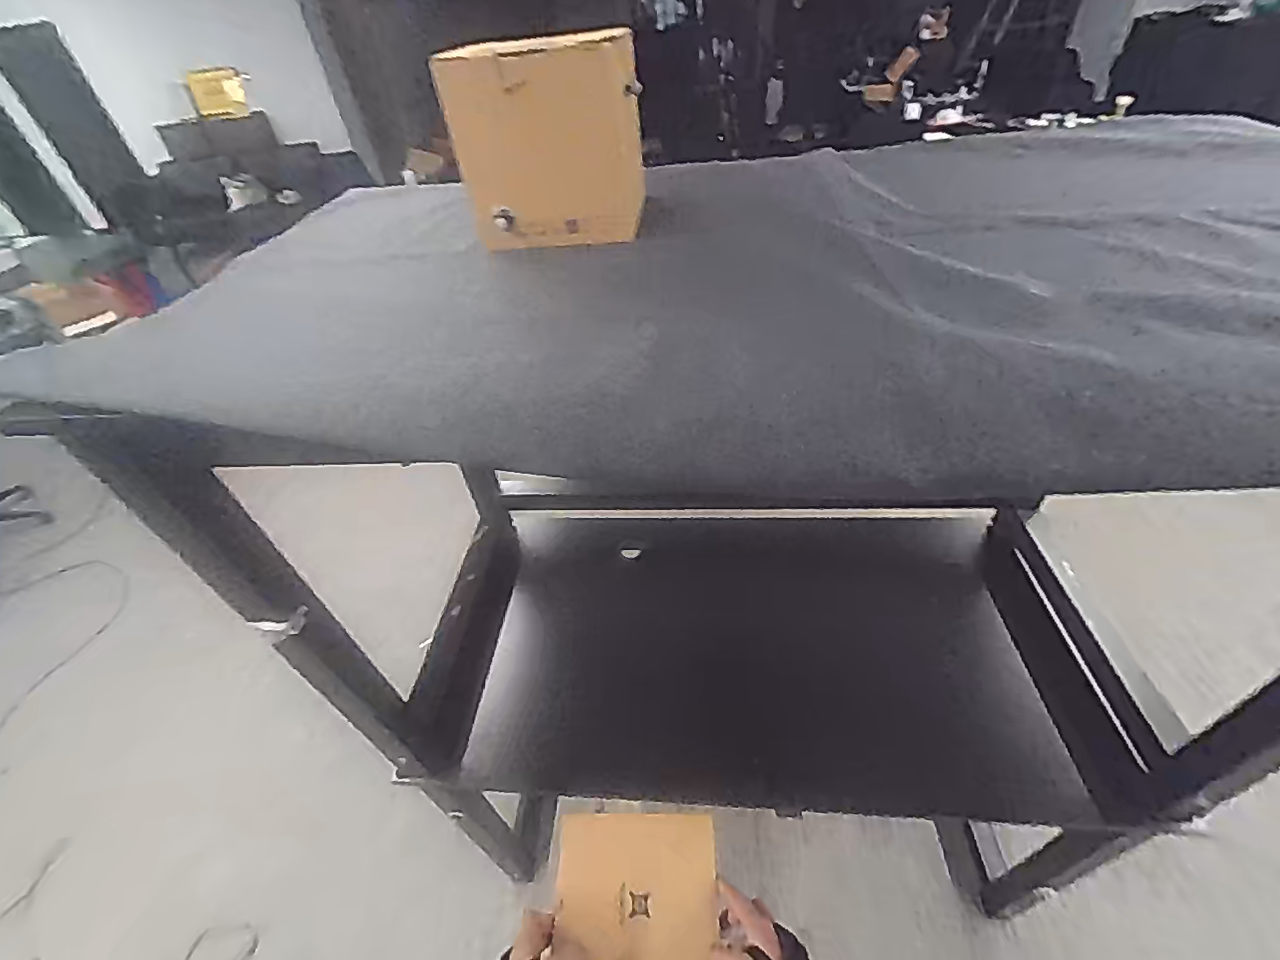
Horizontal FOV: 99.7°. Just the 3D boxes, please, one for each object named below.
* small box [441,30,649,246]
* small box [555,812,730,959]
[{"bbox_3d":[-0.082,-0.363,0.584,0.168,0.176,0.179,-1,41,8],"label":"small box"},{"bbox_3d":[0.008,0.491,0.625,0.179,0.176,0.168,-3,51,5],"label":"small box"}]
